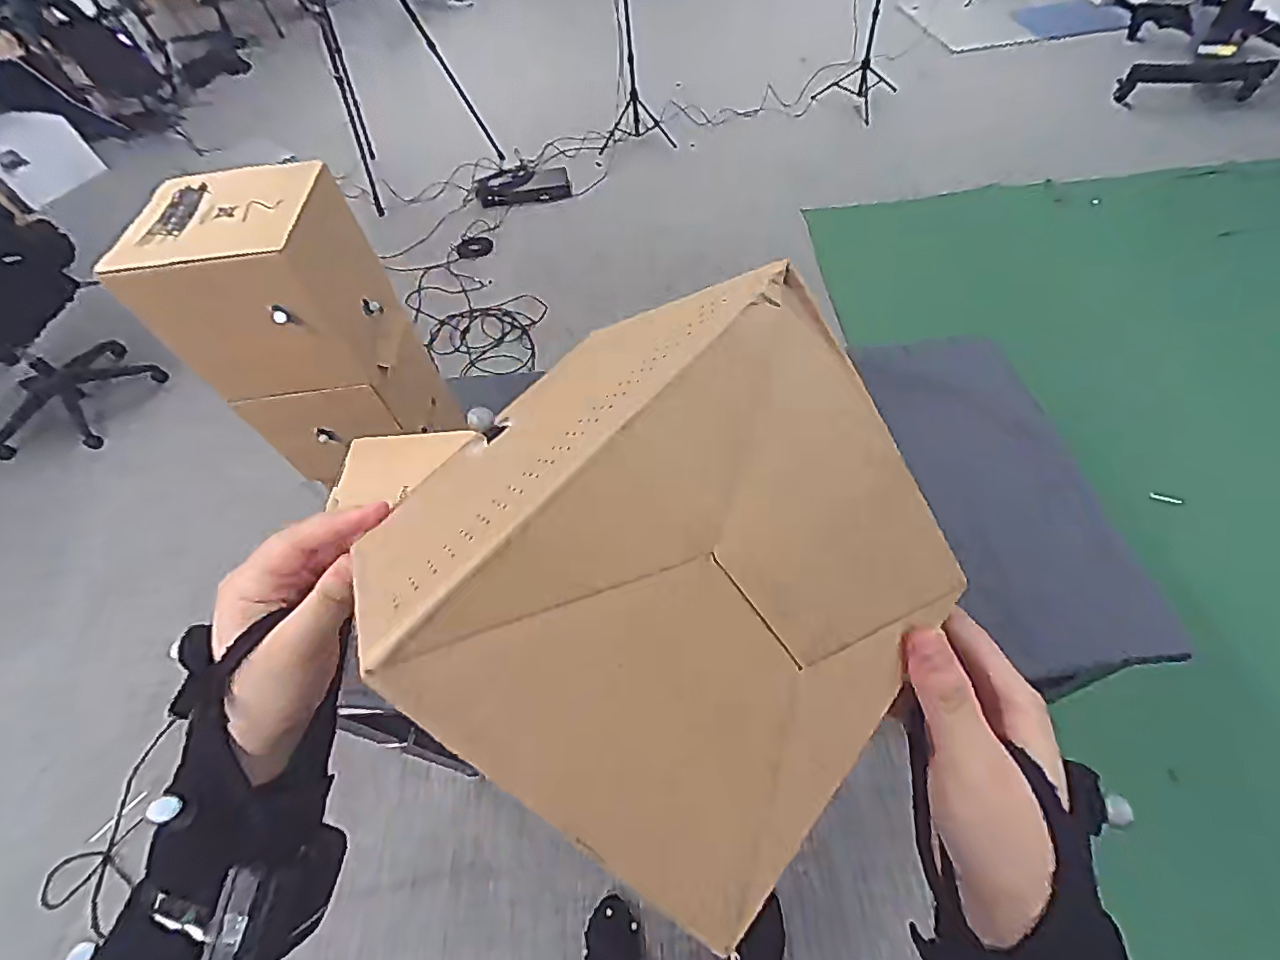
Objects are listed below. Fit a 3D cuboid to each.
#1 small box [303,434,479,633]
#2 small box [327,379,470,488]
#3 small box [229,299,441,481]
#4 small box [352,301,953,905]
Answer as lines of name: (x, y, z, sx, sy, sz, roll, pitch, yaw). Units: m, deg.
small box: (-0.204, 0.069, 0.580, 0.179, 0.176, 0.168, -4, 55, 5)
small box: (-0.376, -0.035, 0.877, 0.168, 0.176, 0.179, -8, 55, 1)
small box: (-0.390, -0.116, 0.733, 0.179, 0.176, 0.168, -8, 56, 2)
small box: (0.000, 0.041, 0.248, 0.179, 0.168, 0.176, -45, 25, -17)
